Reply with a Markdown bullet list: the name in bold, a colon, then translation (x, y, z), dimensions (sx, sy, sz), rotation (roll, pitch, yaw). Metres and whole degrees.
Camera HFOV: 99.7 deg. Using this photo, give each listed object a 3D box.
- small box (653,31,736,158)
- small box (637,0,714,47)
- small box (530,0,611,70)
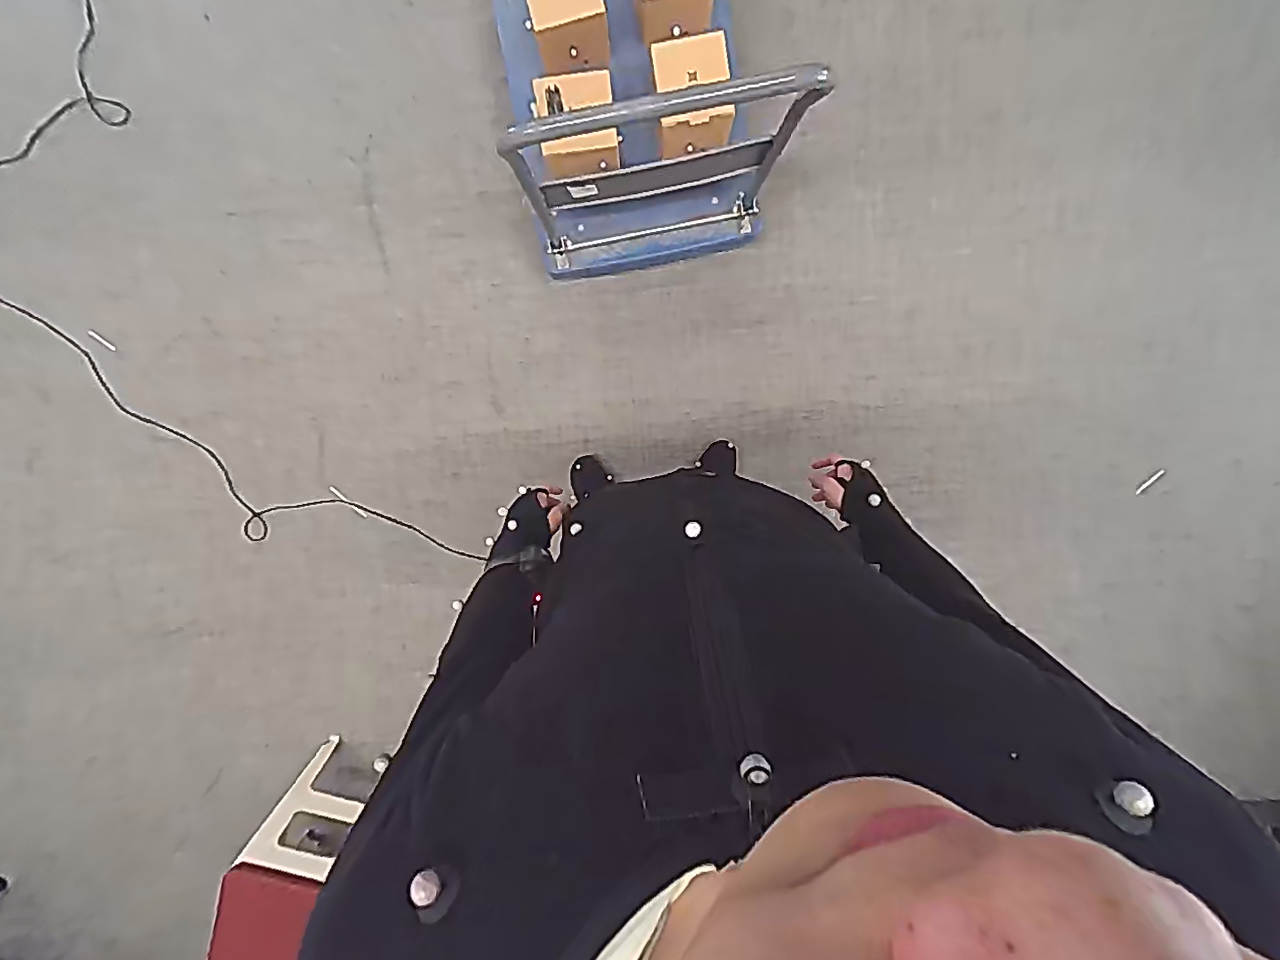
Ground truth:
- **small box**: translation (0.125, -0.913, 1.293), dimensions (0.168, 0.176, 0.179), rotation (-10, 96, 2)
- **small box**: translation (0.074, -1.178, 1.265), dimensions (0.168, 0.176, 0.179), rotation (-14, 96, 4)
- **small box**: translation (-0.169, -1.115, 1.279), dimensions (0.168, 0.176, 0.179), rotation (-14, 95, 2)
